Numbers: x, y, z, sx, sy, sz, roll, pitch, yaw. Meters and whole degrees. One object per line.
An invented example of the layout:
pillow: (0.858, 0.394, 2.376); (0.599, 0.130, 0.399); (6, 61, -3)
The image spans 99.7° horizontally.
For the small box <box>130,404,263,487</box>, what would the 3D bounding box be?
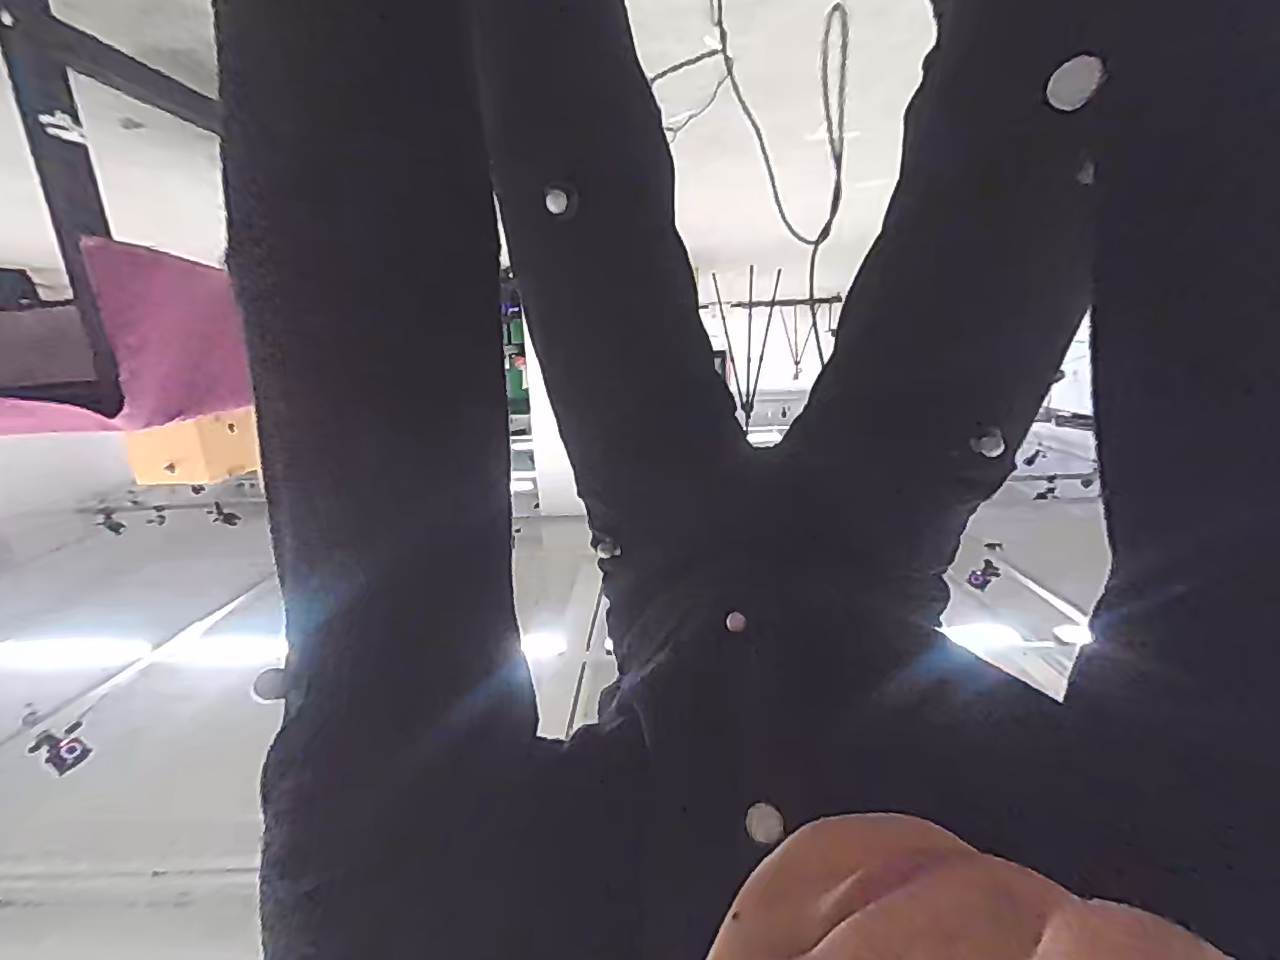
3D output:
small box: (-1.037, -0.086, 1.267); (0.179, 0.176, 0.168); (-2, -165, 4)
